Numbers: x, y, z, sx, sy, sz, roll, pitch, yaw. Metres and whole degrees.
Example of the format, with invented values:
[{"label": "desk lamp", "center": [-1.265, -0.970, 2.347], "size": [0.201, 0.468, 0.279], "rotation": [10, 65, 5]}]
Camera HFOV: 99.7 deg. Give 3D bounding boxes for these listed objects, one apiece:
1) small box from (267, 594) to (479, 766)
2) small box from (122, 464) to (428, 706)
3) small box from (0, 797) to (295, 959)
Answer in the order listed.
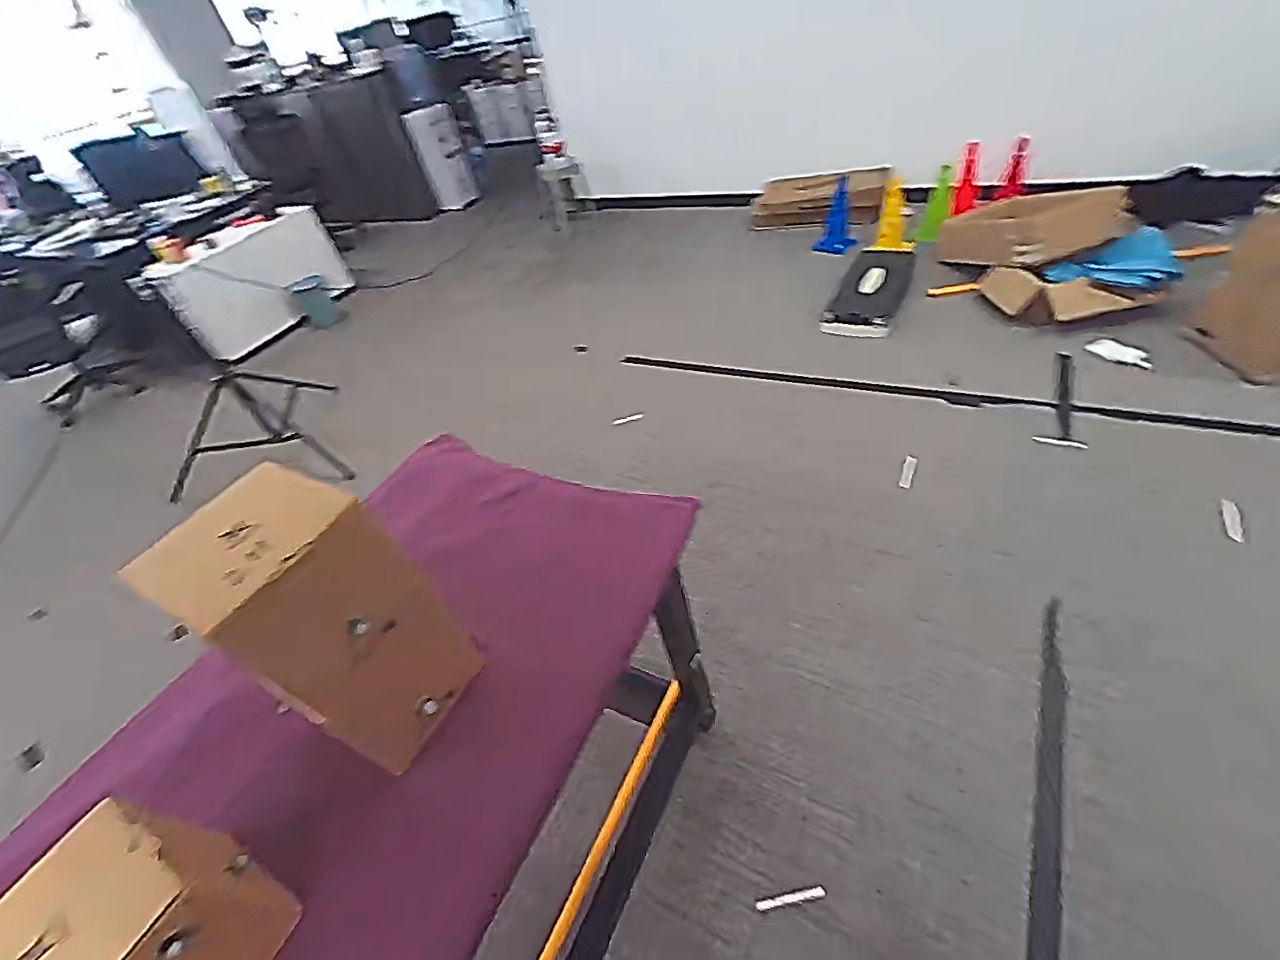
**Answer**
[{"label": "small box", "center": [-0.343, 0.231, 0.689], "size": [0.179, 0.176, 0.168], "rotation": [15, 51, 27]}, {"label": "small box", "center": [-0.371, 0.111, 0.579], "size": [0.179, 0.176, 0.168], "rotation": [14, 51, 27]}, {"label": "small box", "center": [-0.481, 0.446, 0.506], "size": [0.168, 0.176, 0.179], "rotation": [13, 49, 27]}]
